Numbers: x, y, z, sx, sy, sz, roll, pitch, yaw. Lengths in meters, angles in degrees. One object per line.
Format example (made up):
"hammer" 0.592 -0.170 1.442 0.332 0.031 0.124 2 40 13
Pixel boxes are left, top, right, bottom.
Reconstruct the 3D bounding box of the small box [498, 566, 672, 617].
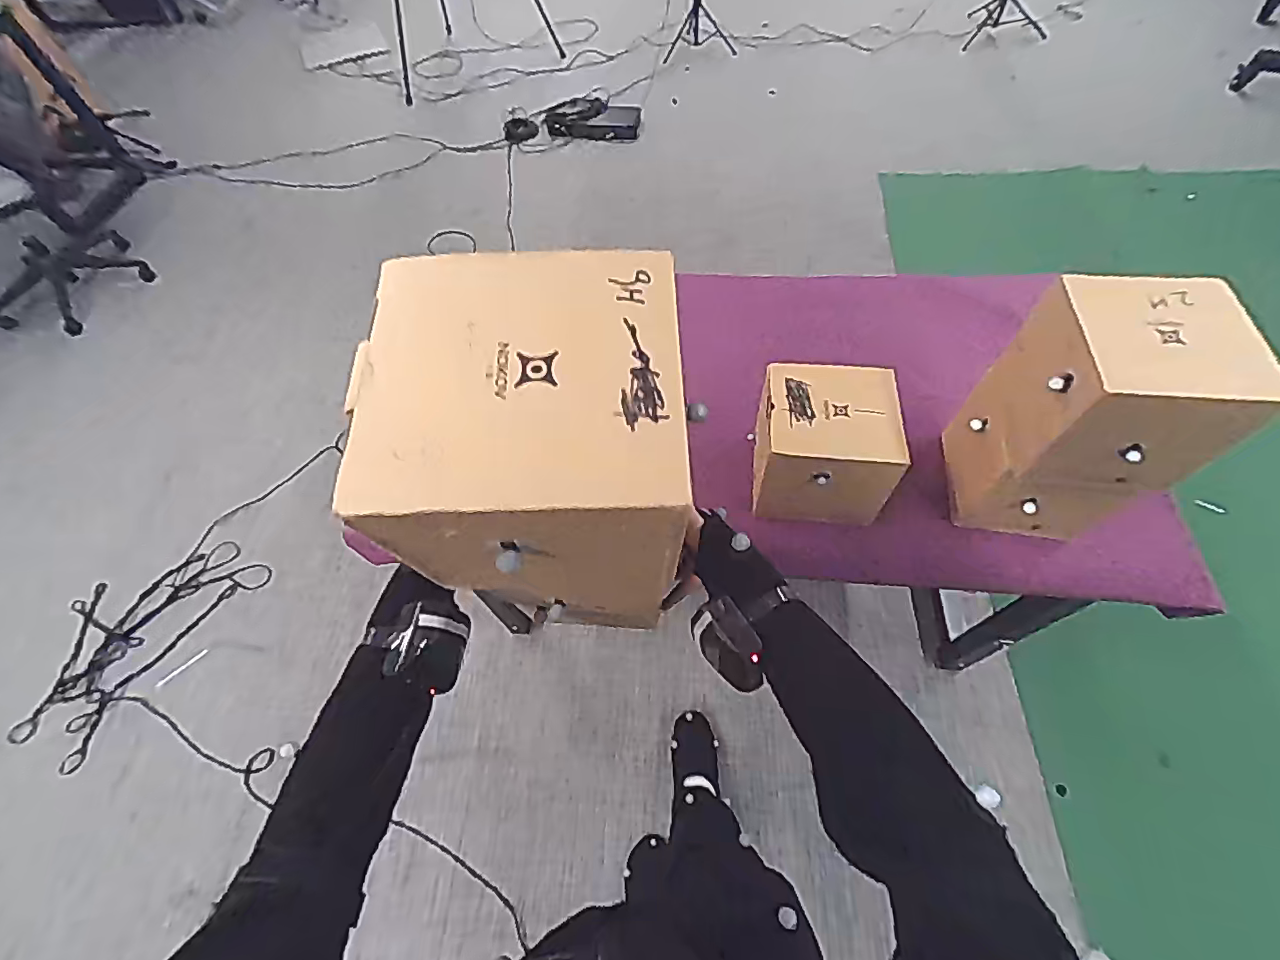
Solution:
"small box" -0.050 0.024 0.520 0.168 0.176 0.179 5 67 2

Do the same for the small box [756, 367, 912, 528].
"small box" 0.267 -0.043 0.790 0.179 0.176 0.168 5 57 5

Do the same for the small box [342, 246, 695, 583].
"small box" -0.059 -0.030 0.365 0.179 0.176 0.168 -2 66 0

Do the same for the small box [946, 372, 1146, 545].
"small box" 0.556 -0.026 0.762 0.168 0.176 0.179 8 59 9

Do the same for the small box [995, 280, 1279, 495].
"small box" 0.542 -0.100 0.614 0.168 0.176 0.179 5 58 7
